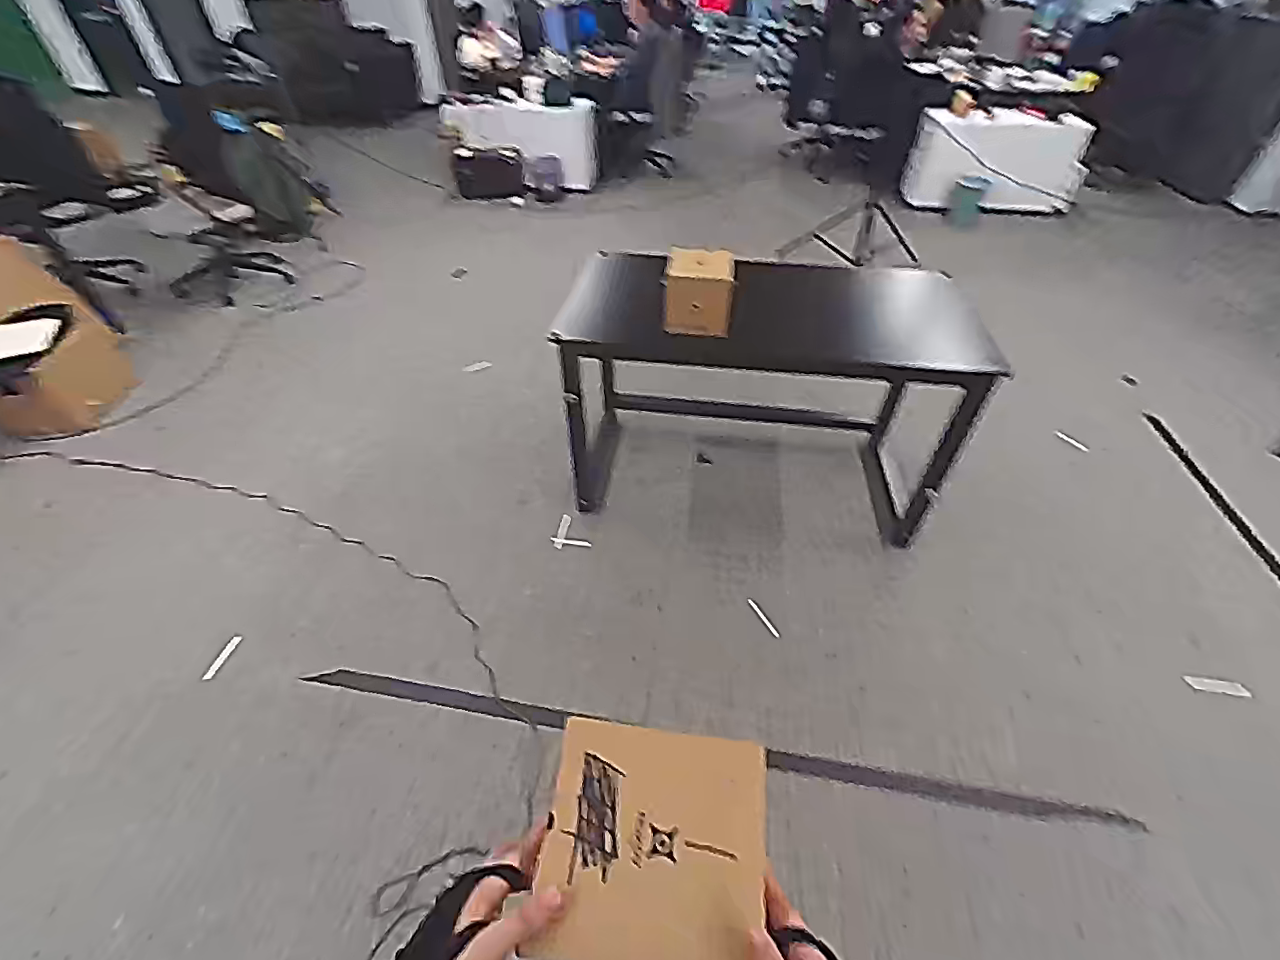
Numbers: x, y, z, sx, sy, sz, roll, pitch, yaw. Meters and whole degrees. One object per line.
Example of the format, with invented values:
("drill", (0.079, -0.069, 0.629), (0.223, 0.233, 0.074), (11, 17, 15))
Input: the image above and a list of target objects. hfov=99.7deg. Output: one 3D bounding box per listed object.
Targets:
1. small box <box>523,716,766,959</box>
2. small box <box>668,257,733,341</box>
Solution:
("small box", (0.014, 0.336, 0.490), (0.179, 0.176, 0.168), (6, 50, 6))
("small box", (0.168, -0.508, 1.517), (0.168, 0.176, 0.179), (6, 44, 6))
